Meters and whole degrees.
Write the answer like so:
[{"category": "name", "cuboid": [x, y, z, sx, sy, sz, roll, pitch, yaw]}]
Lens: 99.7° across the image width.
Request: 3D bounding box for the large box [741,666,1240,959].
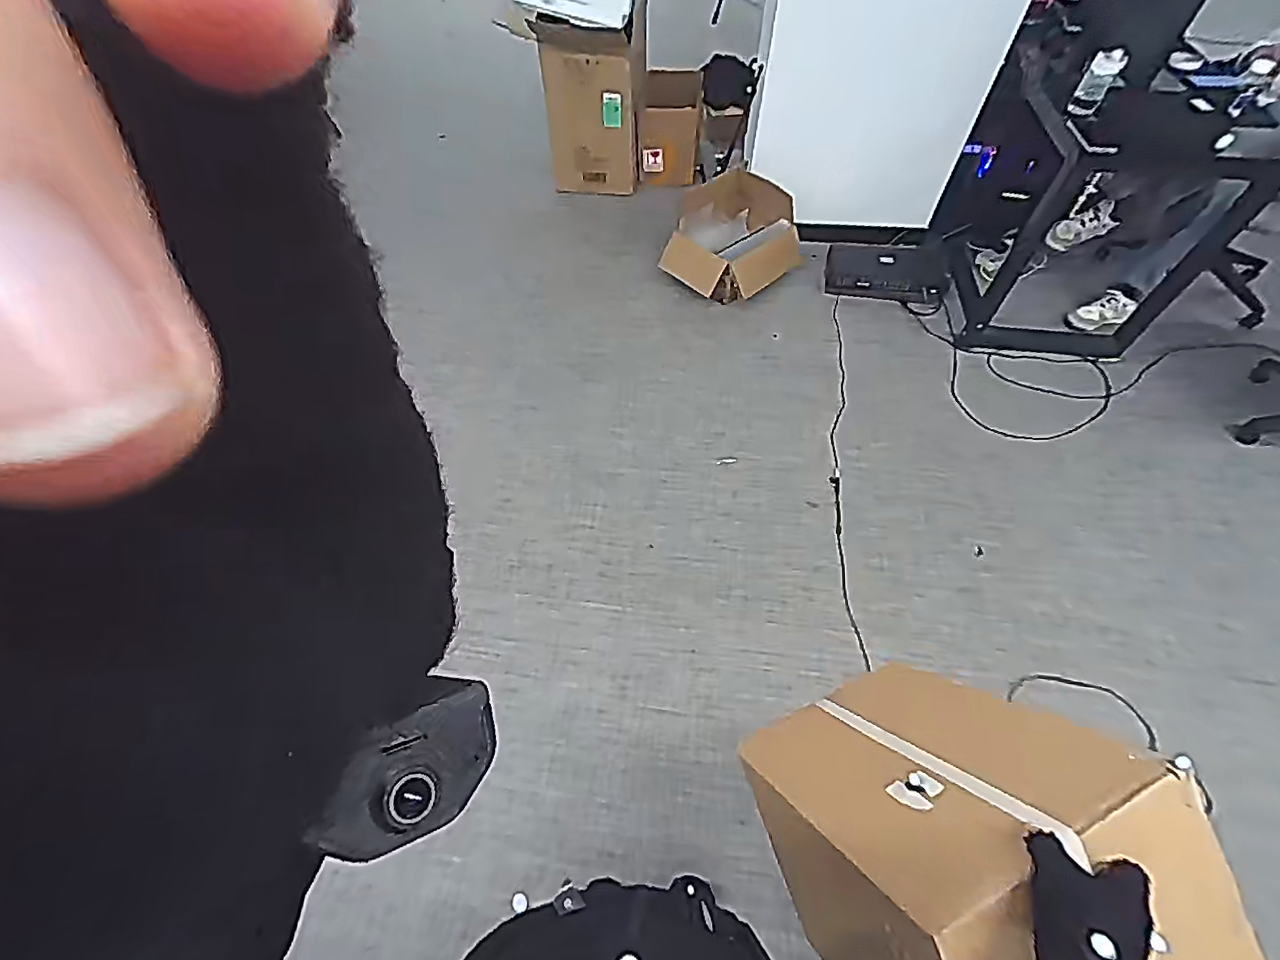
[{"category": "large box", "cuboid": [0.386, 0.485, 0.678, 0.320, 0.408, 0.320, -20, 91, -14]}]
